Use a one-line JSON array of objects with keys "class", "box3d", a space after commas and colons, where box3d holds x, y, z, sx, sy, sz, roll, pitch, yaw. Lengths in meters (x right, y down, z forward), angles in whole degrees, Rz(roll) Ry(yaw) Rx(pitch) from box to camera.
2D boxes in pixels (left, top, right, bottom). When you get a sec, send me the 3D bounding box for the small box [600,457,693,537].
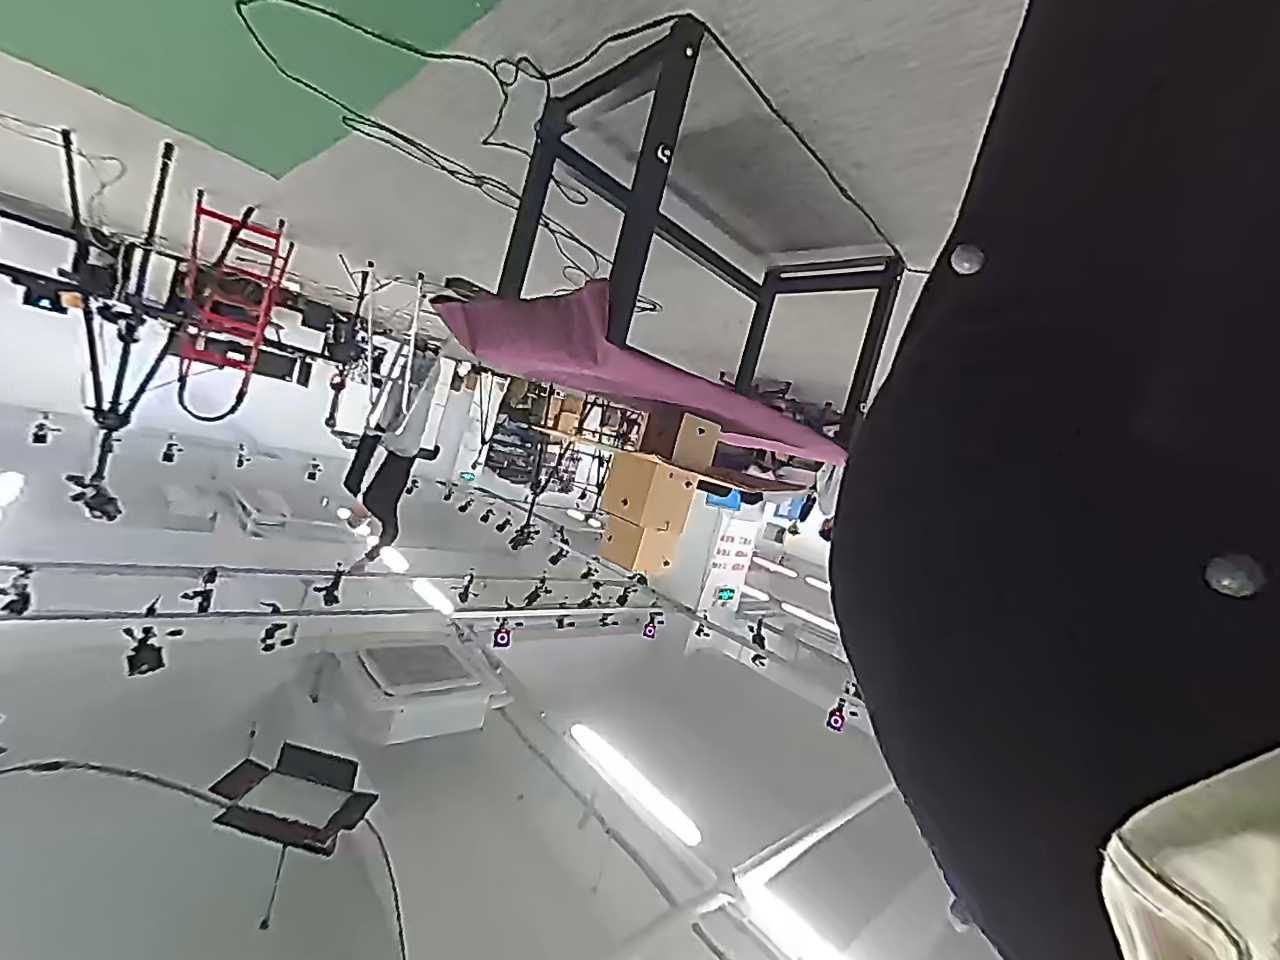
[{"class": "small box", "box3d": [0.023, 0.042, 1.448, 0.168, 0.176, 0.179, 16, -179, -42]}]
